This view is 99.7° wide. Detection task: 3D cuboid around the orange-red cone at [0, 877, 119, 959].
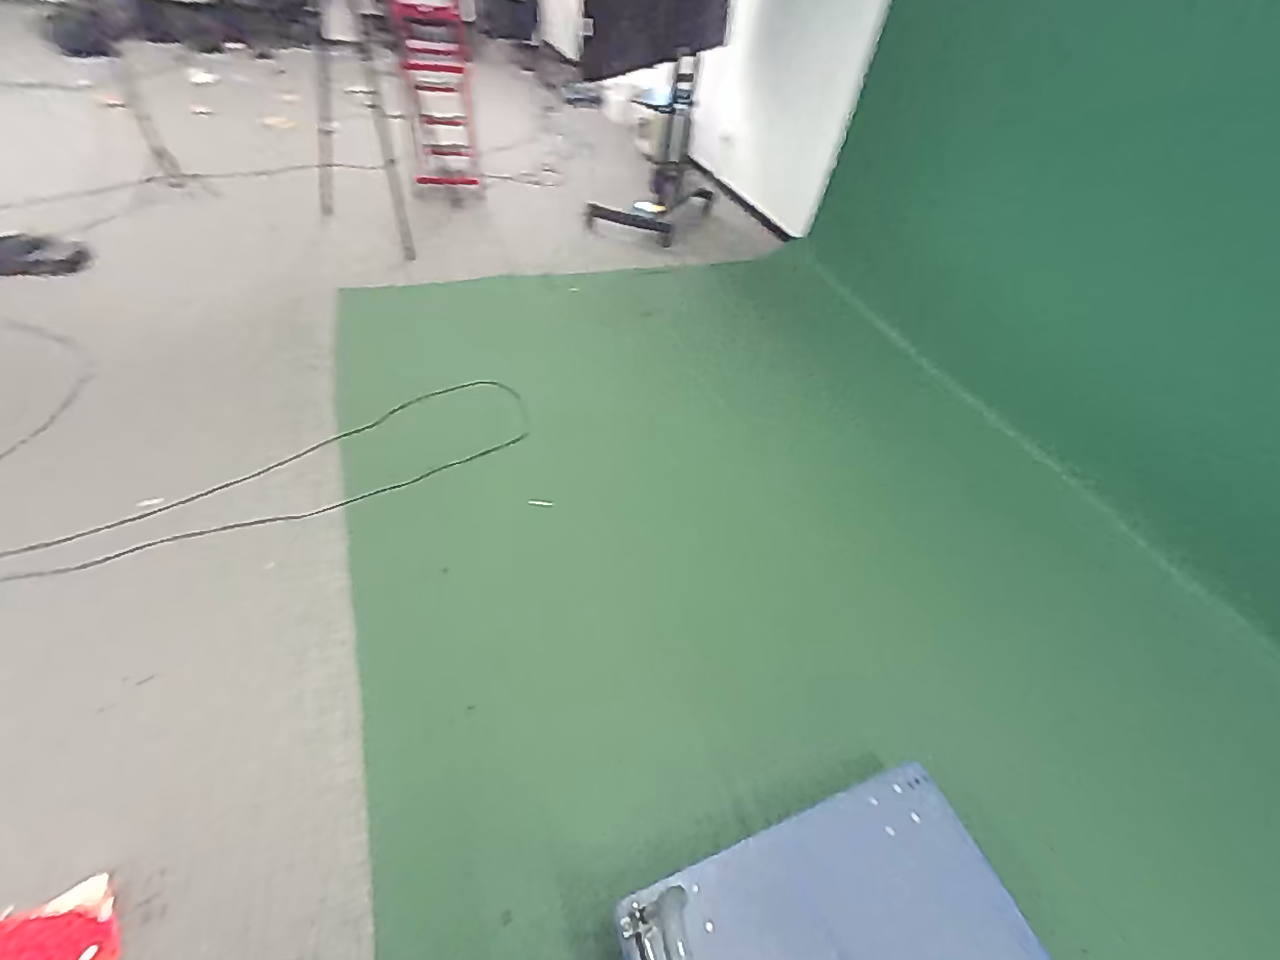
[{"bbox_3d":[-1.204,0.869,1.010,0.198,0.360,0.199,-25,54,-28],"label":"orange-red cone"}]
